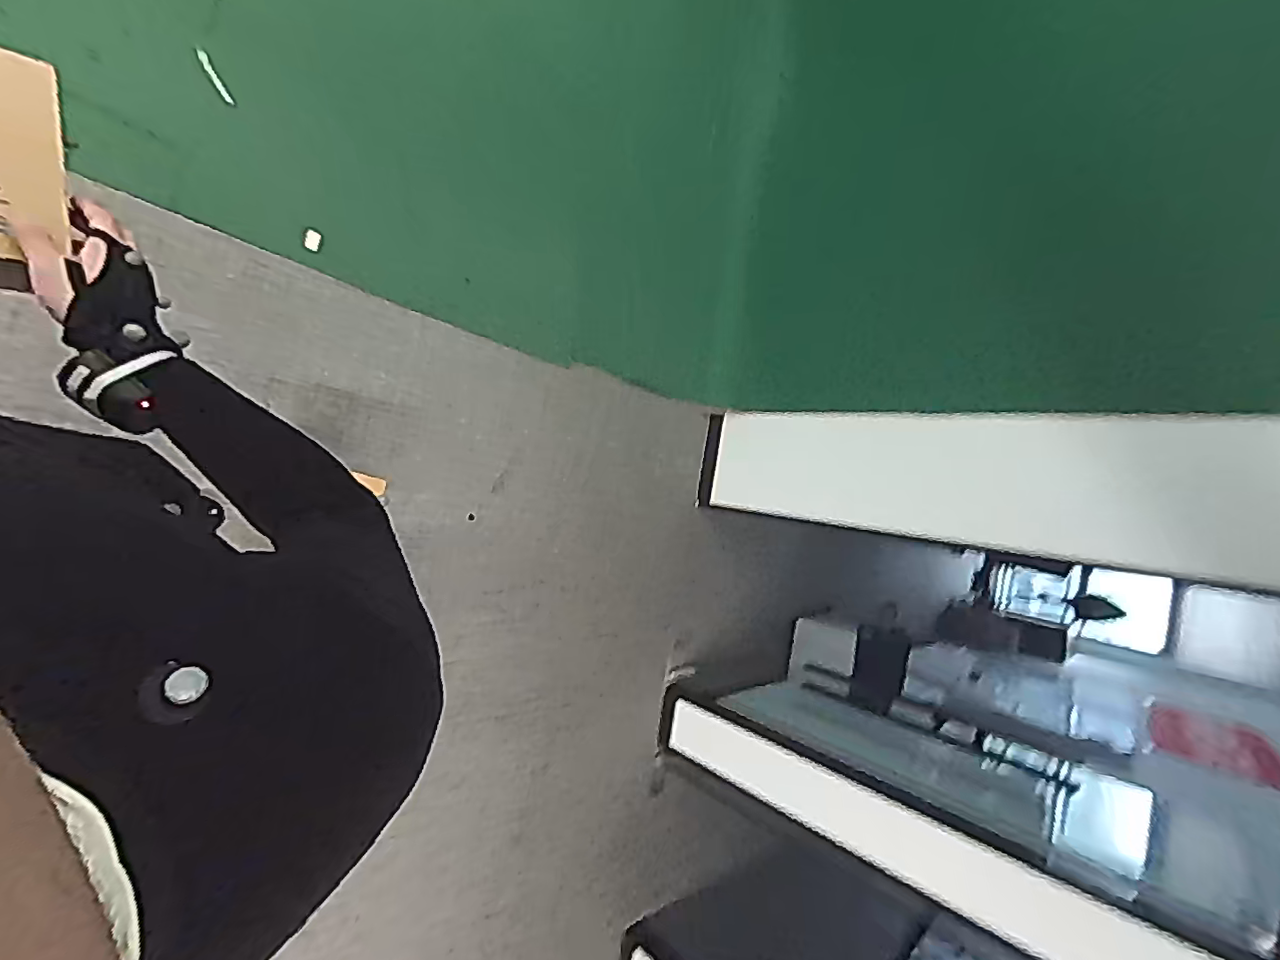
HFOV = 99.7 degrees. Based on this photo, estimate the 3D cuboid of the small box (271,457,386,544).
[{"bbox_3d":[-0.753,0.047,1.306,0.179,0.176,0.168,20,82,-46],"label":"small box"}]
